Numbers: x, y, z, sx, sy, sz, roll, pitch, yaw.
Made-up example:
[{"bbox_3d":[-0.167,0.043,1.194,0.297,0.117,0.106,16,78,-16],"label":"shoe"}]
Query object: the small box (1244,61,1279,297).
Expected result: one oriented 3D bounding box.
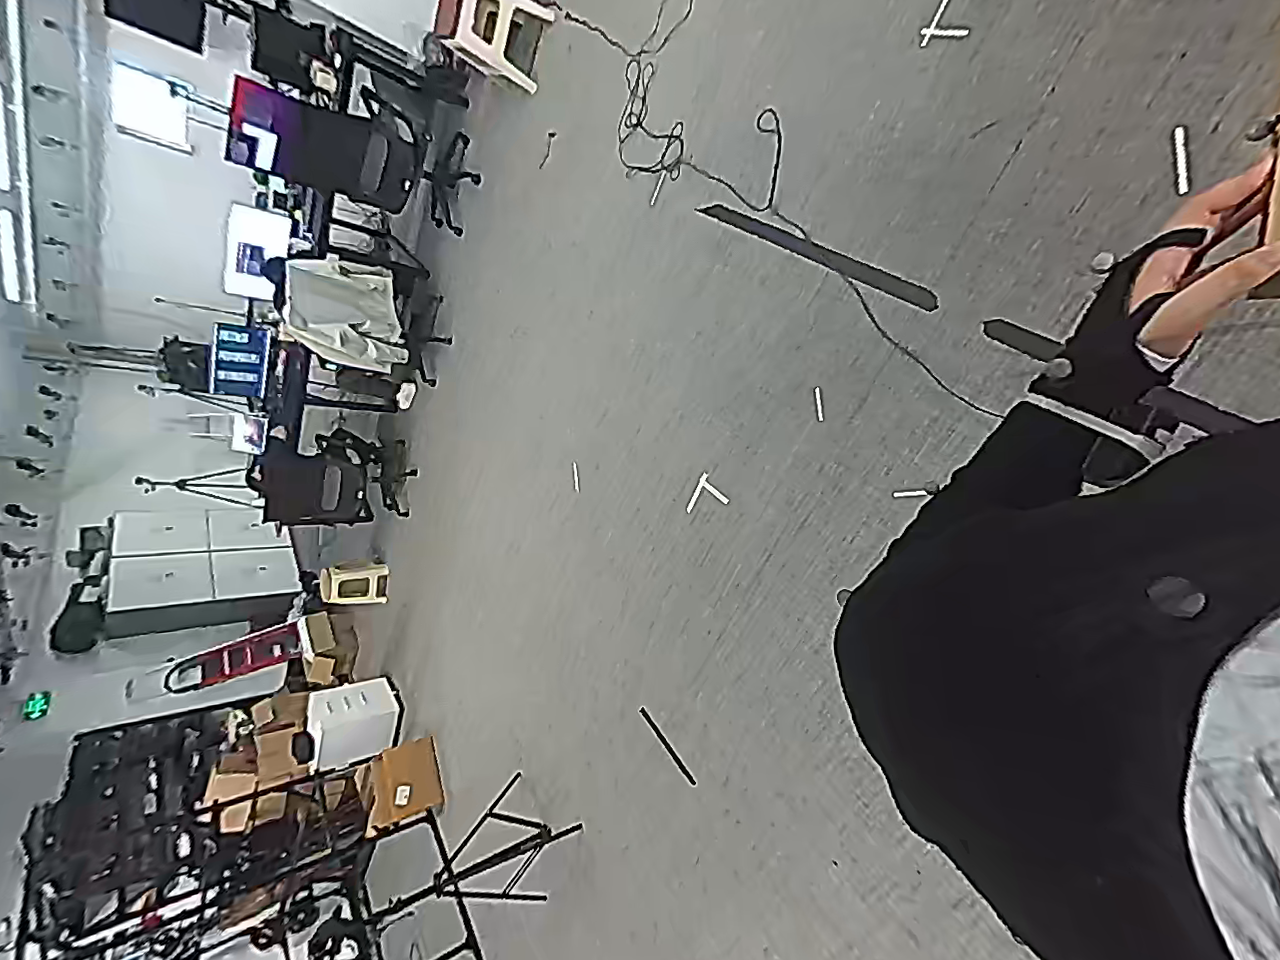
[{"bbox_3d":[0.497,-0.222,0.322,0.168,0.176,0.179,9,100,45],"label":"small box"}]
